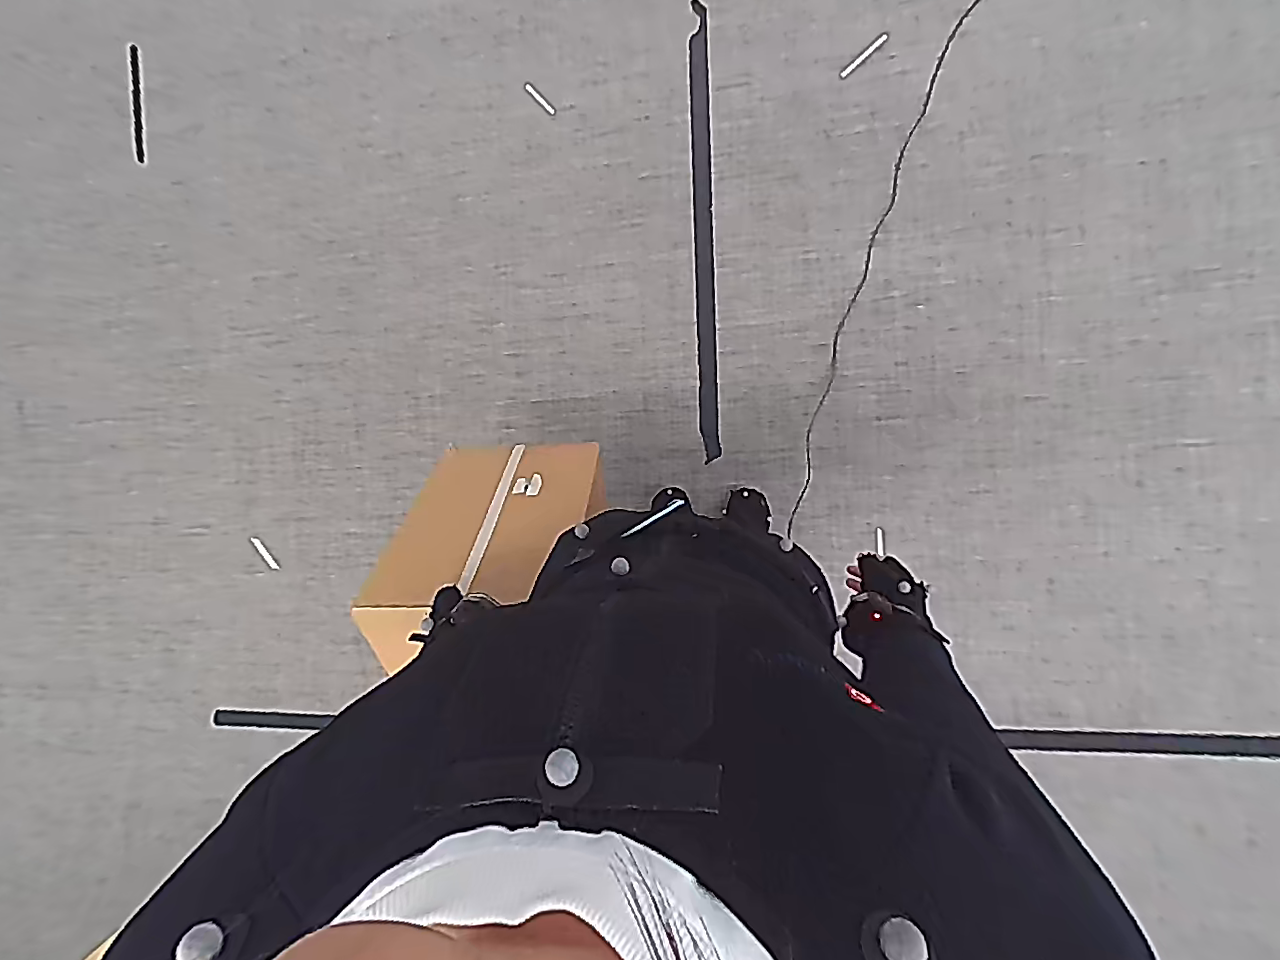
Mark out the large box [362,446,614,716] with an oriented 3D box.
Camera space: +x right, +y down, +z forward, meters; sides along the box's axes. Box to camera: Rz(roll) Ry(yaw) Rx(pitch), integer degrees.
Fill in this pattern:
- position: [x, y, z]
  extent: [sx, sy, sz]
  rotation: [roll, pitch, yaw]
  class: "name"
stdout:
- position: [-0.233, 0.177, 1.012]
  extent: [0.320, 0.408, 0.320]
  rotation: [-1, 127, 5]
  class: "large box"
